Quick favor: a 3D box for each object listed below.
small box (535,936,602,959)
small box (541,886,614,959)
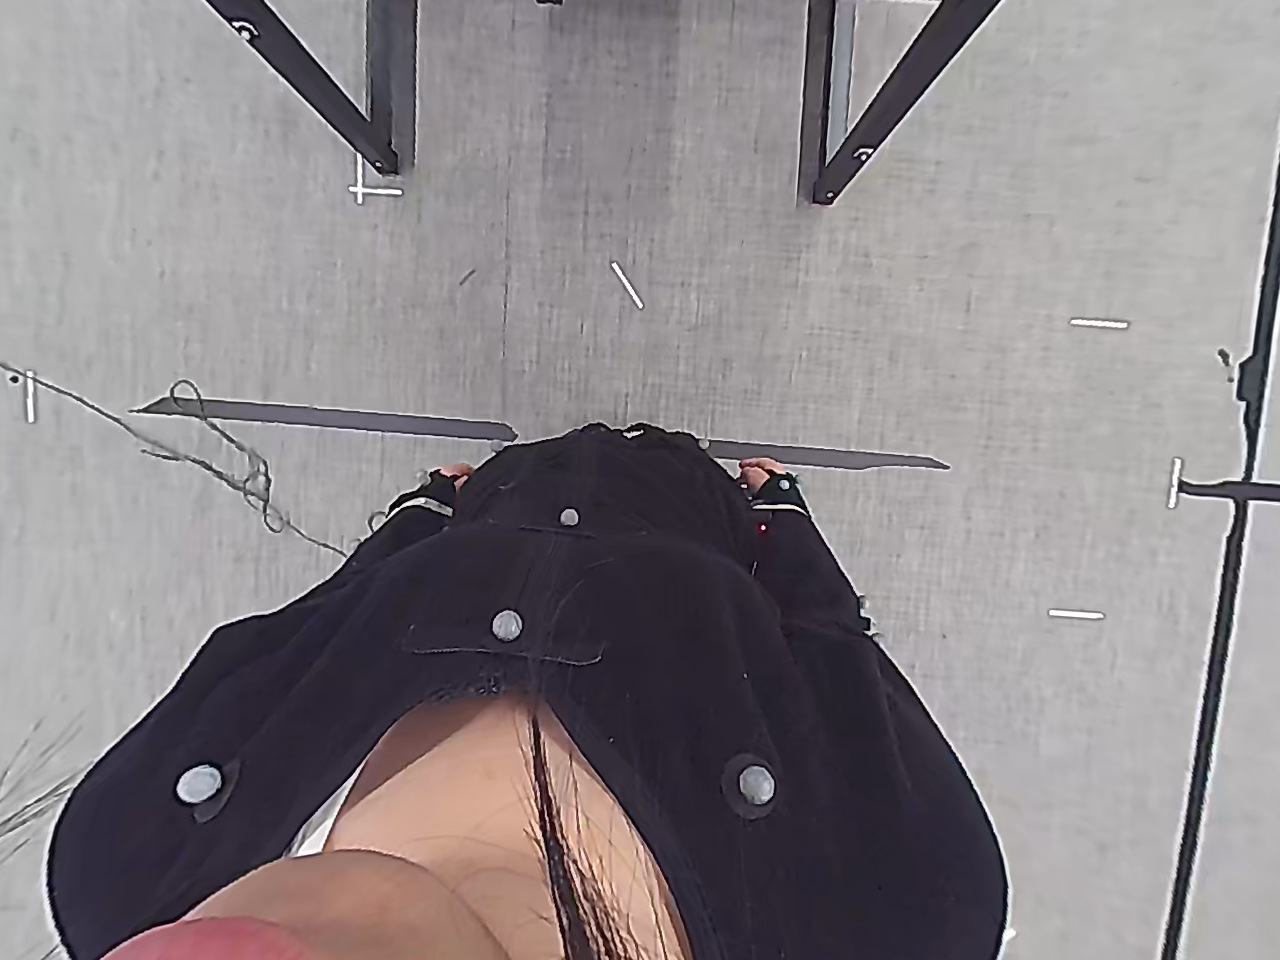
[{"bbox_3d":[-0.172,1.285,1.328,0.168,0.176,0.179,-10,95,-2],"label":"small box"},{"bbox_3d":[-0.168,1.264,1.492,0.168,0.176,0.179,-10,94,0],"label":"small box"}]
